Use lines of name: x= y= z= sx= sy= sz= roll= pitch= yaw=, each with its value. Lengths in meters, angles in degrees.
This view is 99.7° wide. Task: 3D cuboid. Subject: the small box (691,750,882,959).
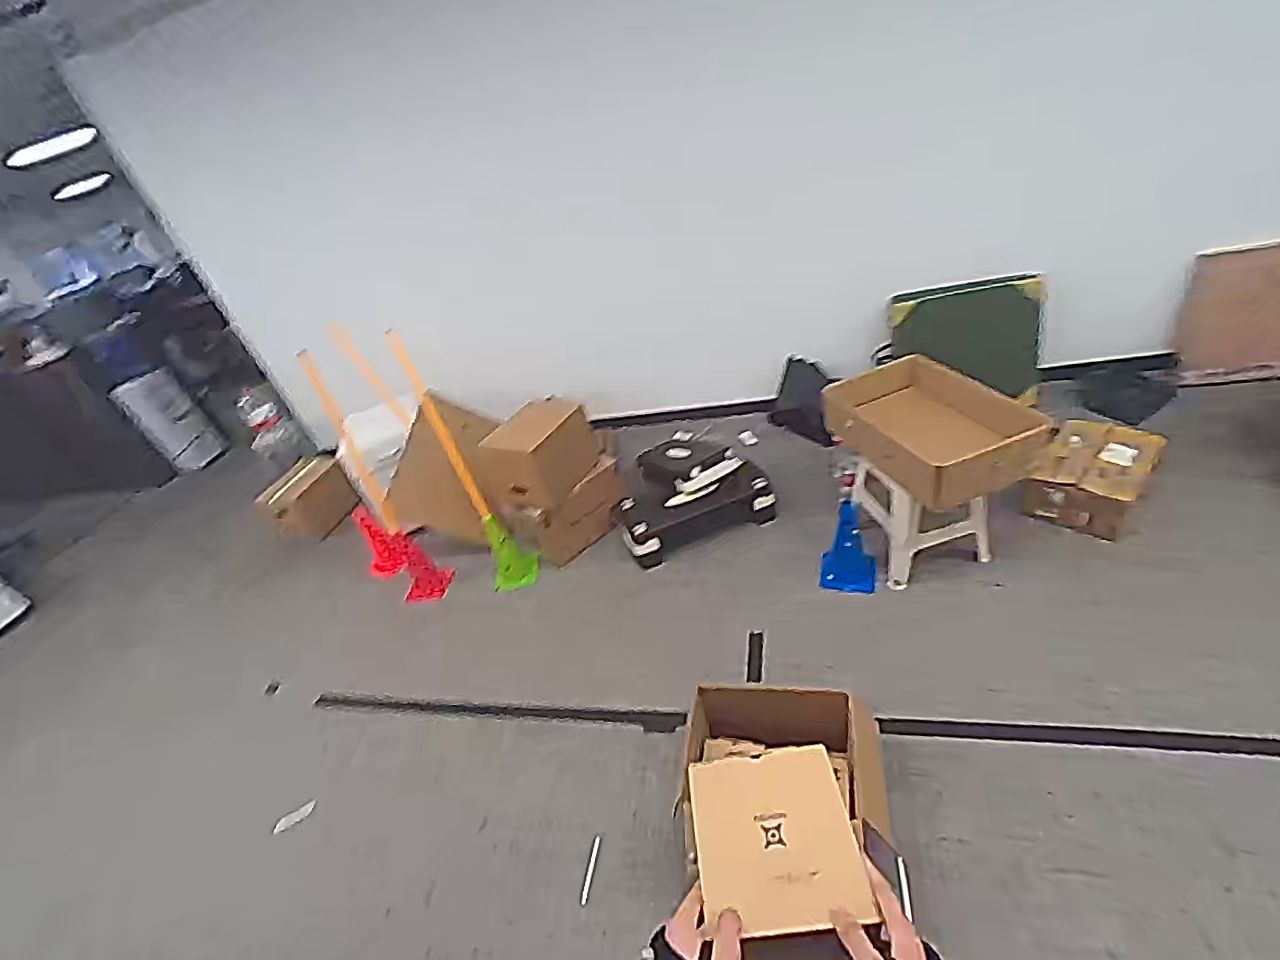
small box: x=0.154 y=0.443 z=0.612 sx=0.168 sy=0.176 sz=0.179 roll=-10 pitch=30 yaw=4
